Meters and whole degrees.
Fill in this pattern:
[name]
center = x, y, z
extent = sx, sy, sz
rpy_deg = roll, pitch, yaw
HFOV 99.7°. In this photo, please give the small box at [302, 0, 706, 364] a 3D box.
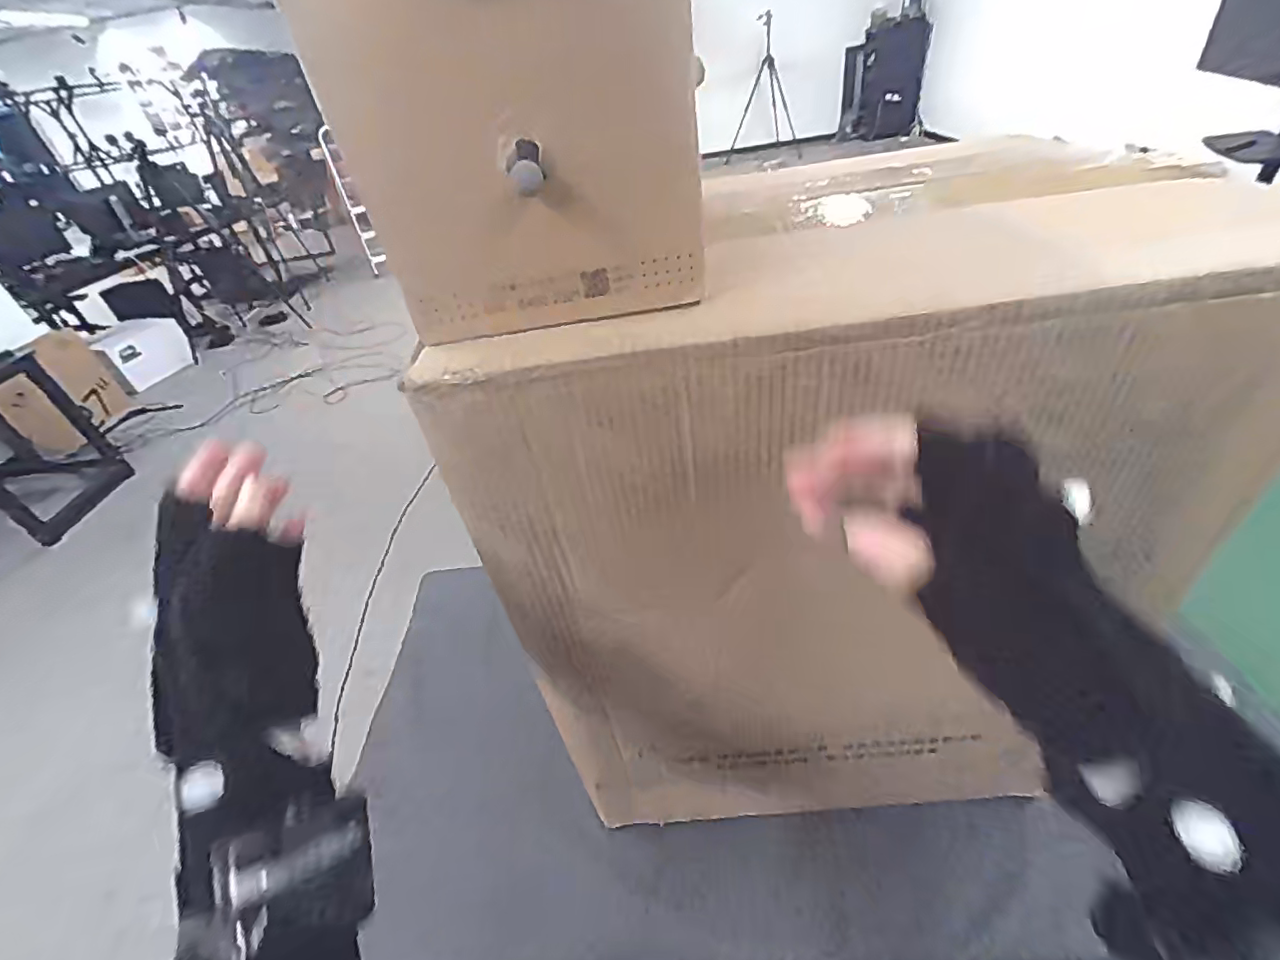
[small box]
center = -0.057, -0.184, 0.338
extent = 0.168, 0.176, 0.179
rpy_deg = -10, 40, 2
